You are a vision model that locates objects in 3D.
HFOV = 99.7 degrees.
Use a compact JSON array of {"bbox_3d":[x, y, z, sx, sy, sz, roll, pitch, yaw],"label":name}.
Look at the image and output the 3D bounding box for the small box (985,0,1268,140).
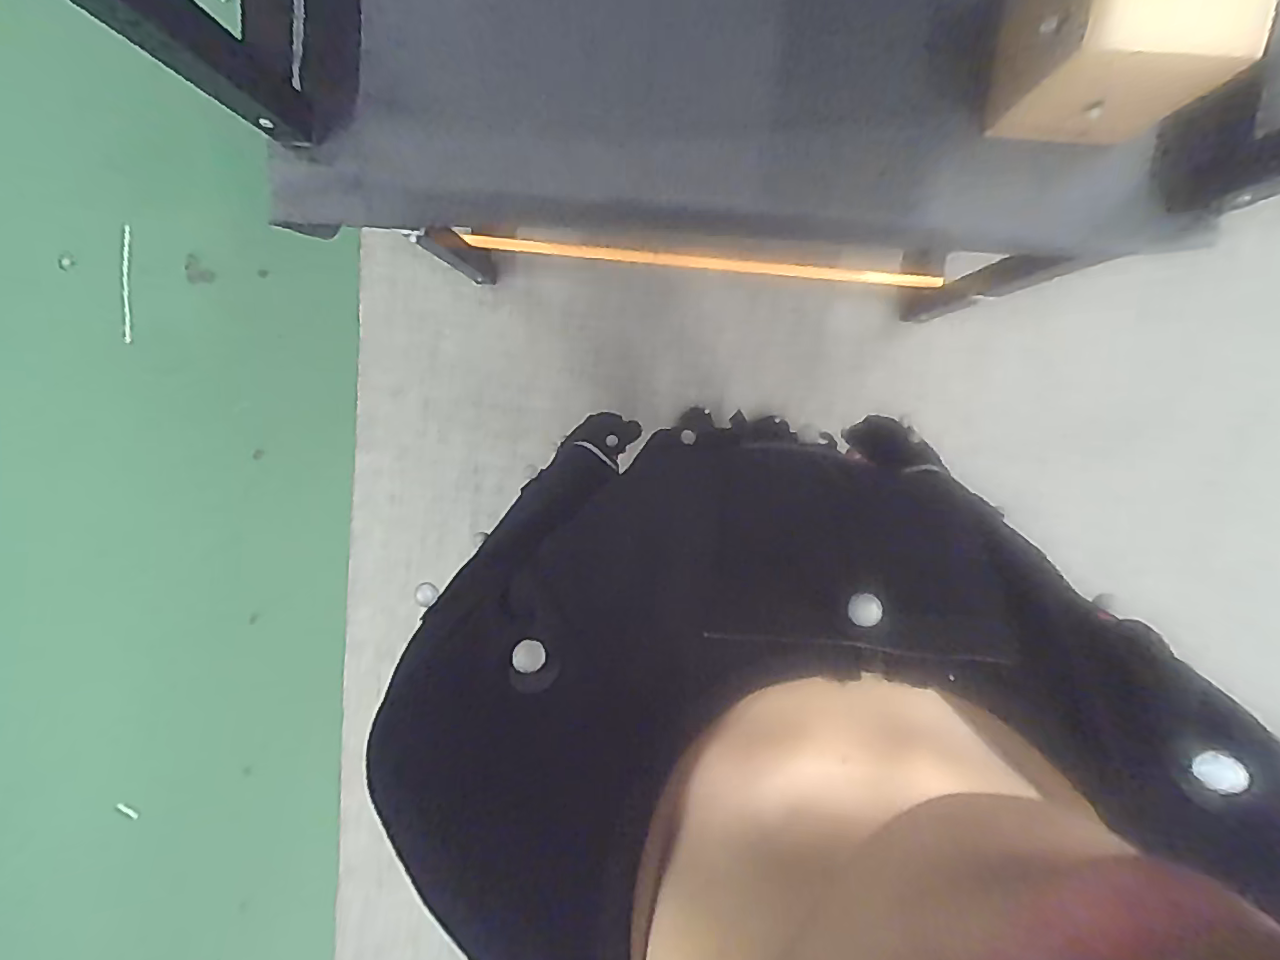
[{"bbox_3d":[0.506,-0.496,0.578,0.168,0.176,0.179,6,97,2],"label":"small box"}]
